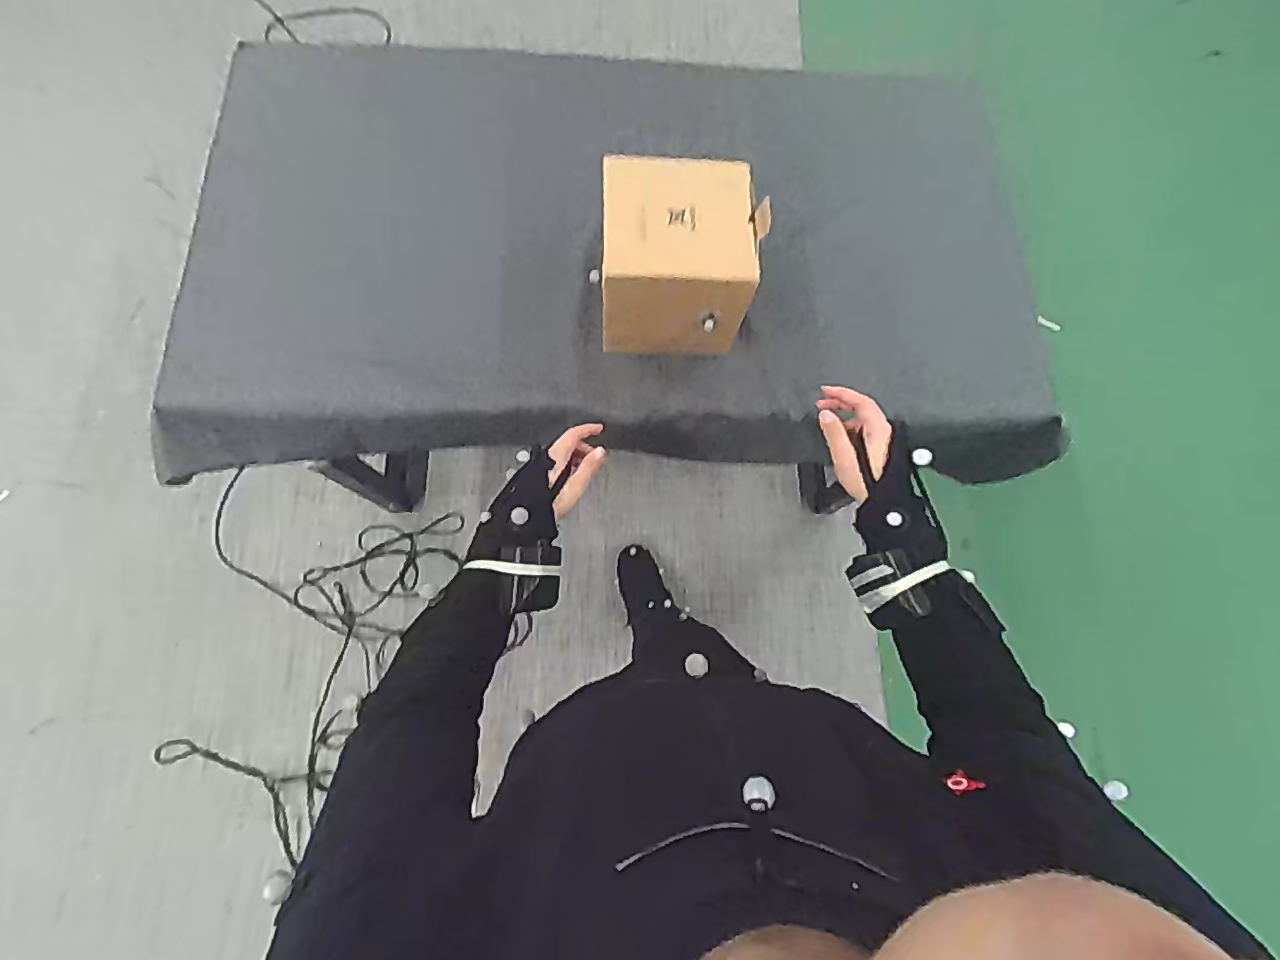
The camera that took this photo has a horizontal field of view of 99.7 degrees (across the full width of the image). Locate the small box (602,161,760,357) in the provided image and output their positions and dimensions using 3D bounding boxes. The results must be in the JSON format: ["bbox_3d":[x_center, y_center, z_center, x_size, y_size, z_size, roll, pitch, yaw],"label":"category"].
[{"bbox_3d":[0.041,-0.271,0.692,0.179,0.176,0.168,-1,73,-3],"label":"small box"}]
